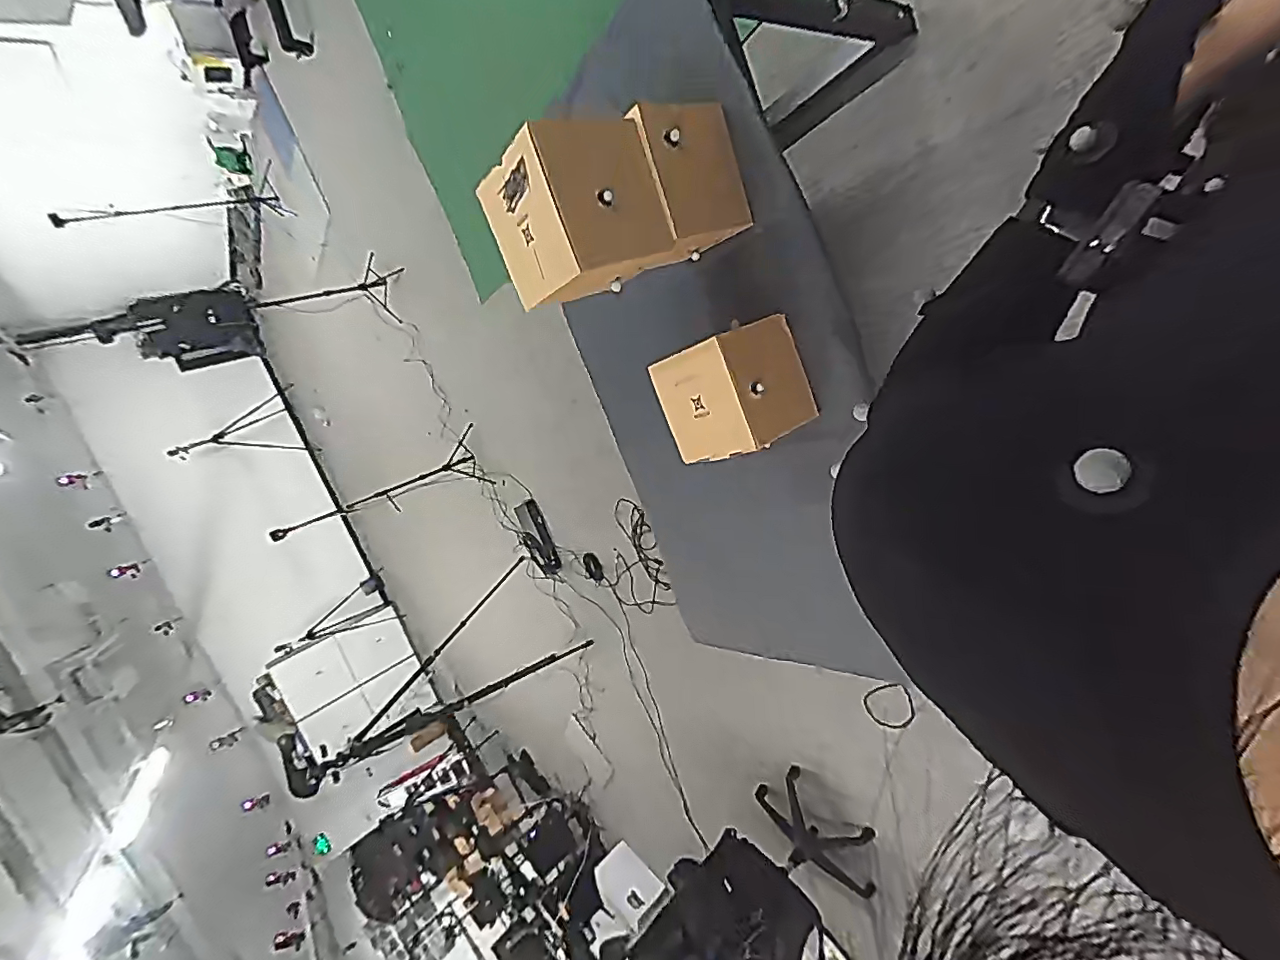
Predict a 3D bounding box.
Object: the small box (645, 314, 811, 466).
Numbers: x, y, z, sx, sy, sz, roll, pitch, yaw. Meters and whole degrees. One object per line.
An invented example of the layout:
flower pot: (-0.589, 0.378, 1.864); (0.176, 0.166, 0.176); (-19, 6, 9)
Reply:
small box: (0.145, -0.142, 0.865); (0.168, 0.176, 0.179); (-12, 104, 53)

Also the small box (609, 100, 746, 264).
small box: (0.029, -0.430, 0.808); (0.168, 0.176, 0.179); (-2, 112, 53)

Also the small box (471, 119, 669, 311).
small box: (-0.091, -0.351, 0.727); (0.168, 0.176, 0.179); (-4, 111, 53)
